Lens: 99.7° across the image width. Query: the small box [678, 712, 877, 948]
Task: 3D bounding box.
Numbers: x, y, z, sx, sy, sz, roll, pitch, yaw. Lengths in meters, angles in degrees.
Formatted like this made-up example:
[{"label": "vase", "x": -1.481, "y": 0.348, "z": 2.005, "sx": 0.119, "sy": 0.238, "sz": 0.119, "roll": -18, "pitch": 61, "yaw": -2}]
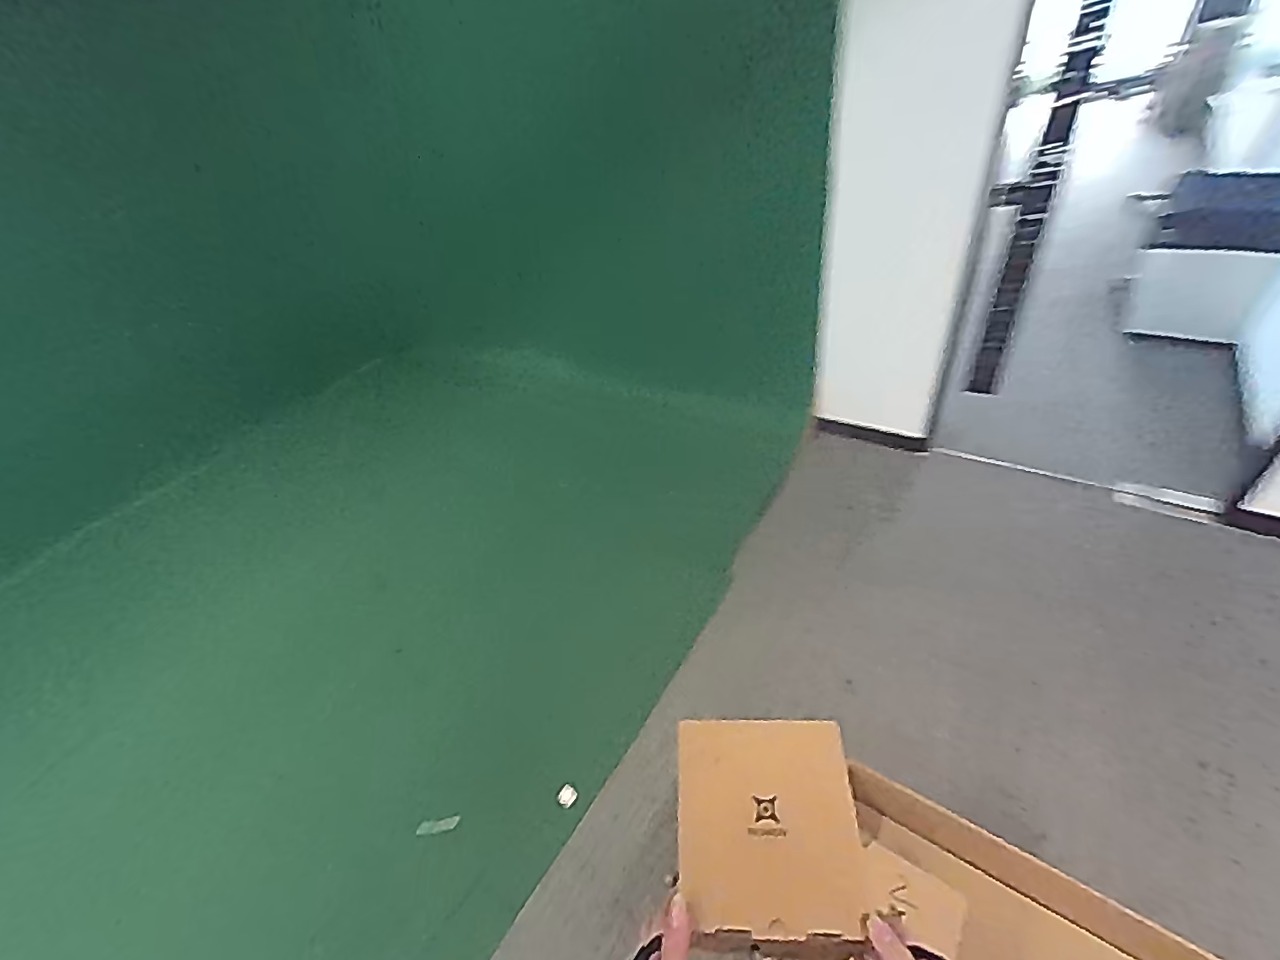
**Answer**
[{"label": "small box", "x": 0.123, "y": 0.363, "z": 0.563, "sx": 0.168, "sy": 0.176, "sz": 0.179, "roll": -1, "pitch": 47, "yaw": 5}]
